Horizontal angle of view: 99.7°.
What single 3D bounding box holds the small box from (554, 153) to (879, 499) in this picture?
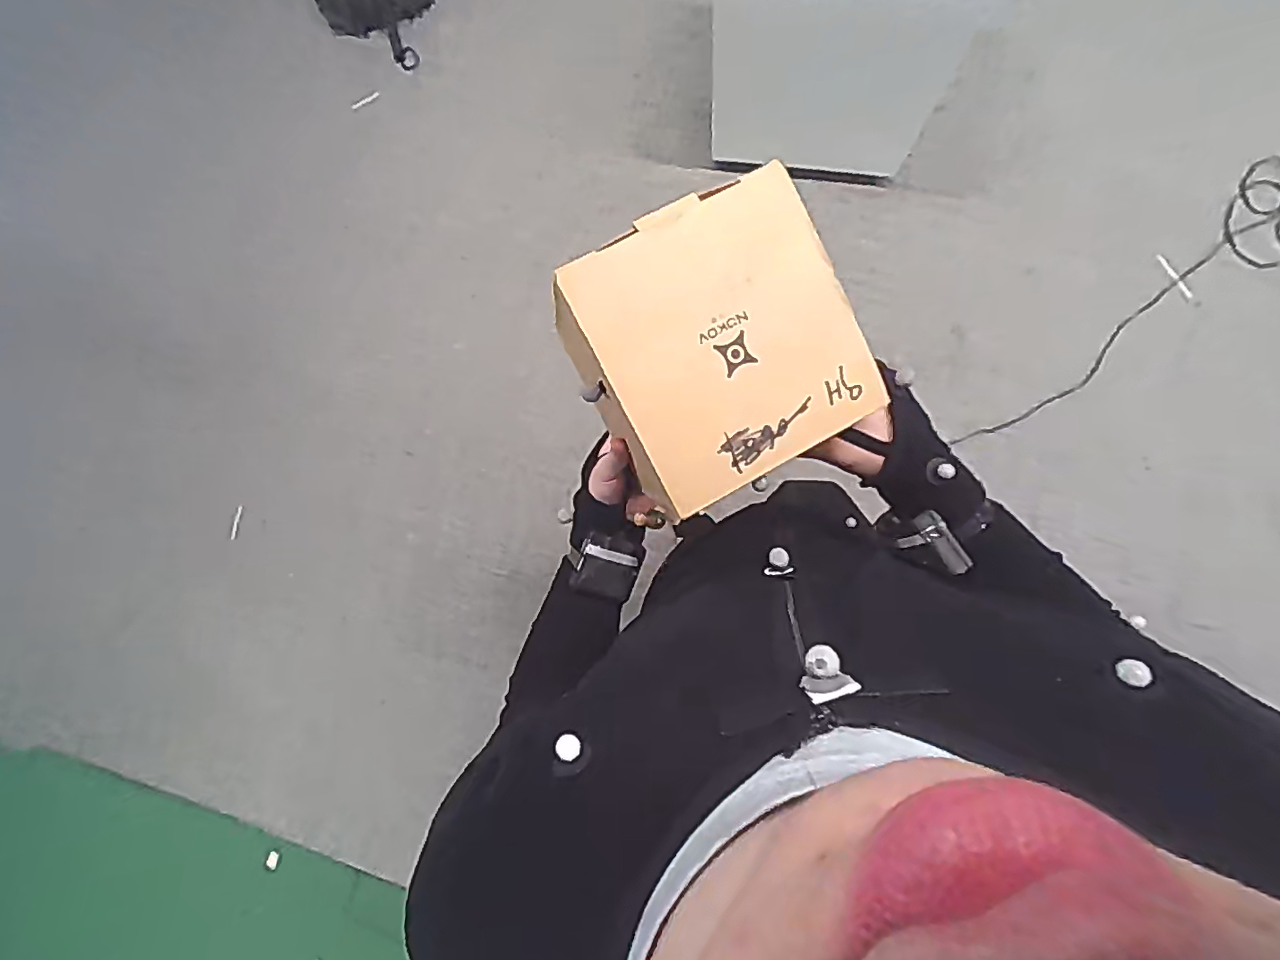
[{"bbox_3d":[0.042,-0.103,0.425,0.168,0.176,0.179,-27,98,-5],"label":"small box"}]
